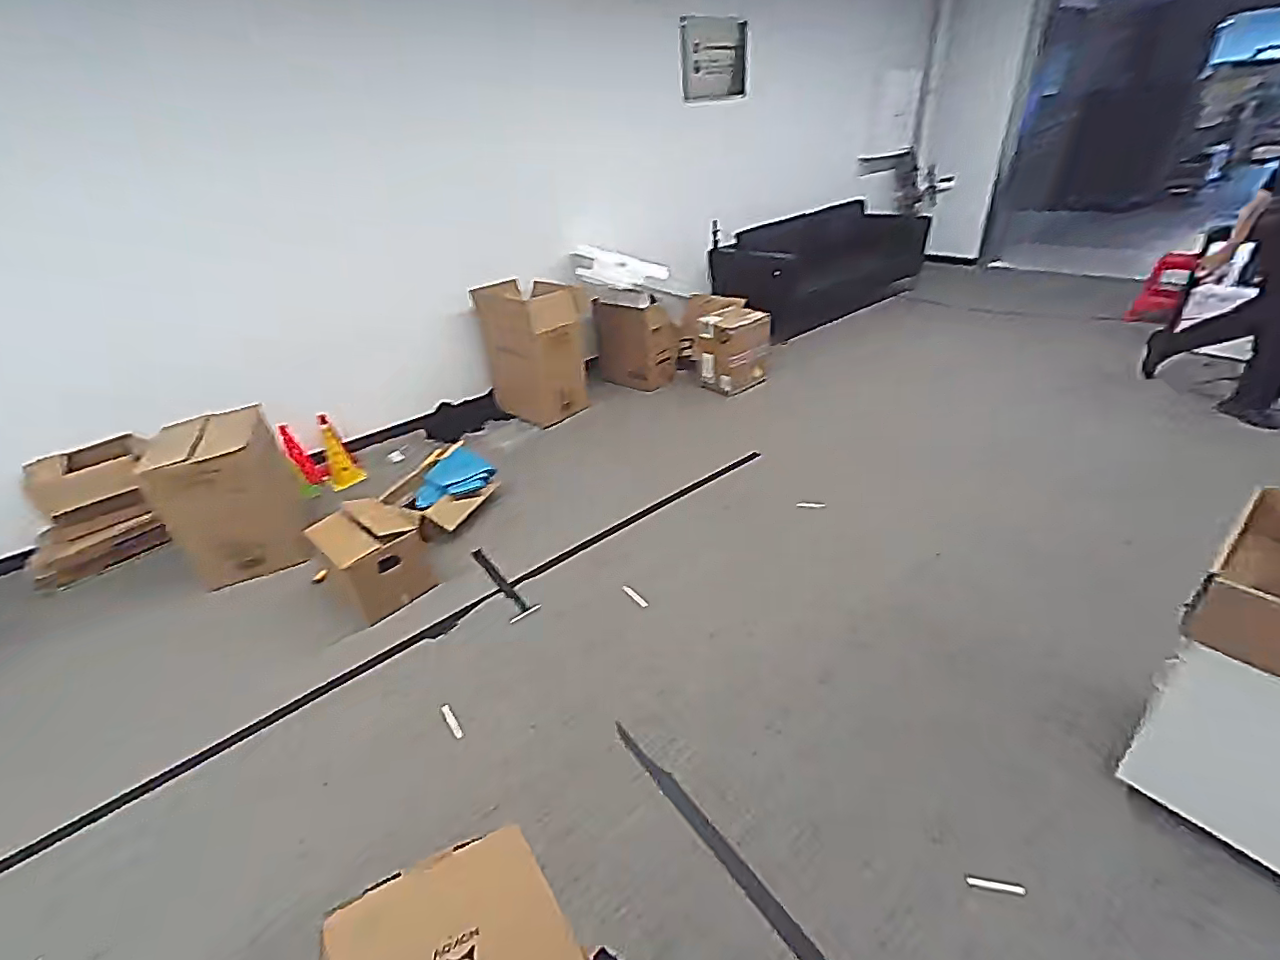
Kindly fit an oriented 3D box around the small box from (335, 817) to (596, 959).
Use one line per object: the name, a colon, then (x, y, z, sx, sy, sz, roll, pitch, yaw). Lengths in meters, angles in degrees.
small box: (-0.144, 0.431, 0.434, 0.168, 0.176, 0.179, -4, 26, -37)
